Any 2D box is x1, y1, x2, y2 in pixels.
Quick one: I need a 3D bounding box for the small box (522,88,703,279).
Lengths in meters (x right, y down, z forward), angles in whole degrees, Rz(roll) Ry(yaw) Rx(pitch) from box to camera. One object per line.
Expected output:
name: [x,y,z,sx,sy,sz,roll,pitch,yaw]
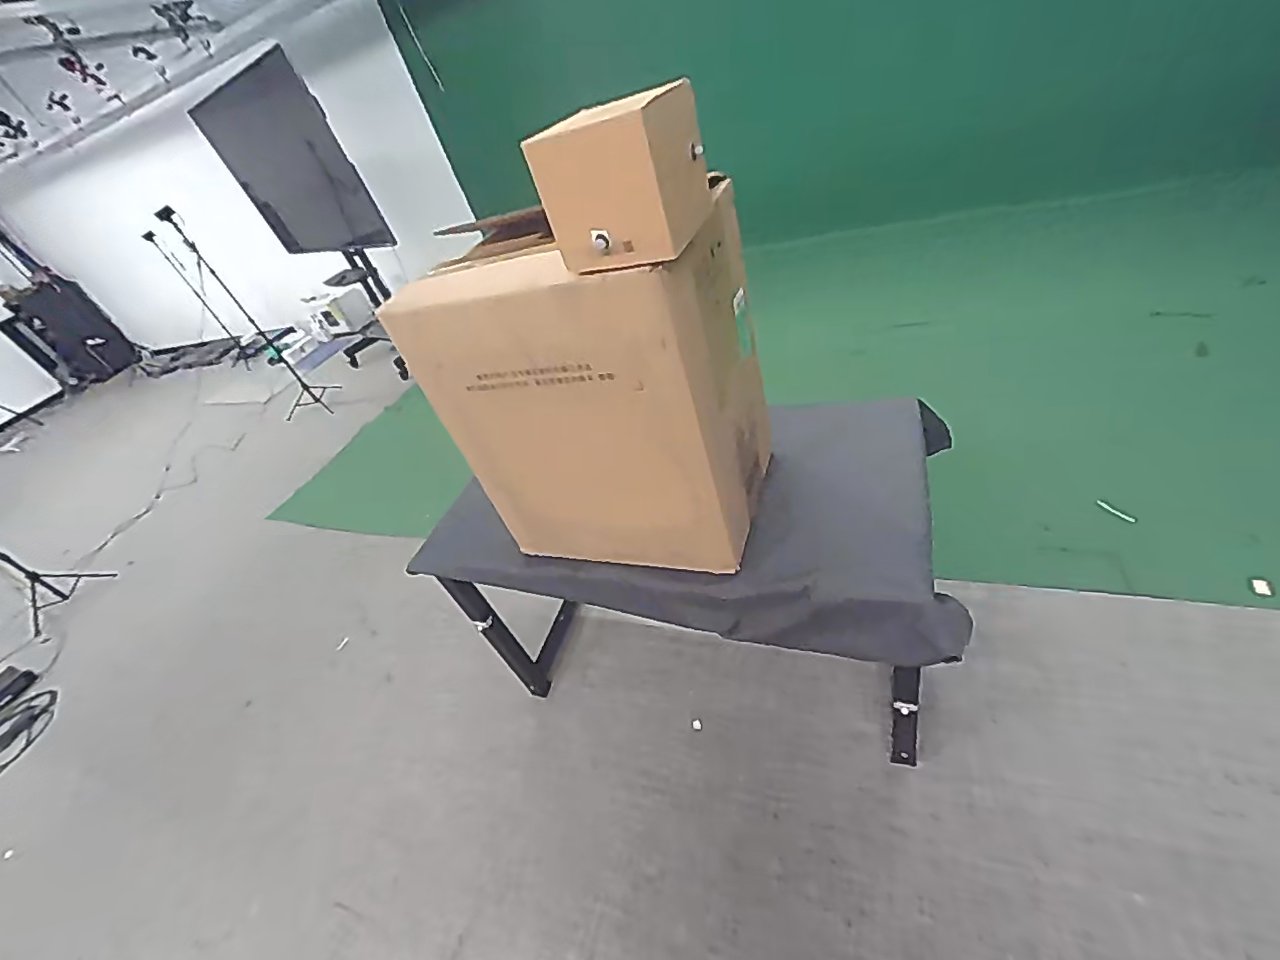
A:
small box: [-0.022,-0.392,0.726,0.168,0.176,0.179,1,43,26]
